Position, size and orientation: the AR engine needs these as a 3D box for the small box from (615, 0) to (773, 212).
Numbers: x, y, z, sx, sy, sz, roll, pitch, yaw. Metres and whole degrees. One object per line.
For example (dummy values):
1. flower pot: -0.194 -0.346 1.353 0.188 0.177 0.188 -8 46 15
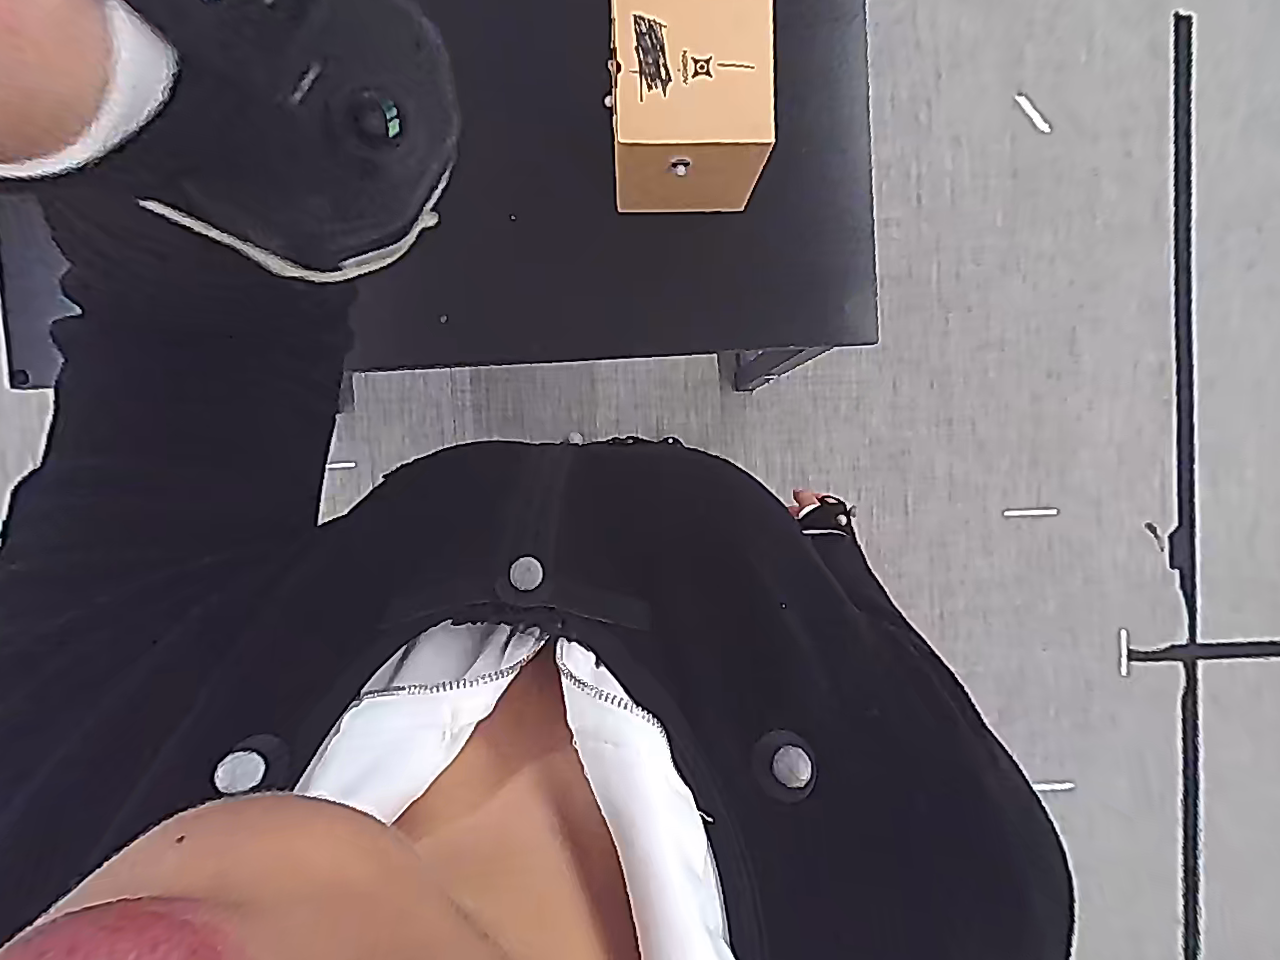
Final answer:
1. small box: 0.059 -0.454 0.677 0.179 0.176 0.168 -1 92 -2
